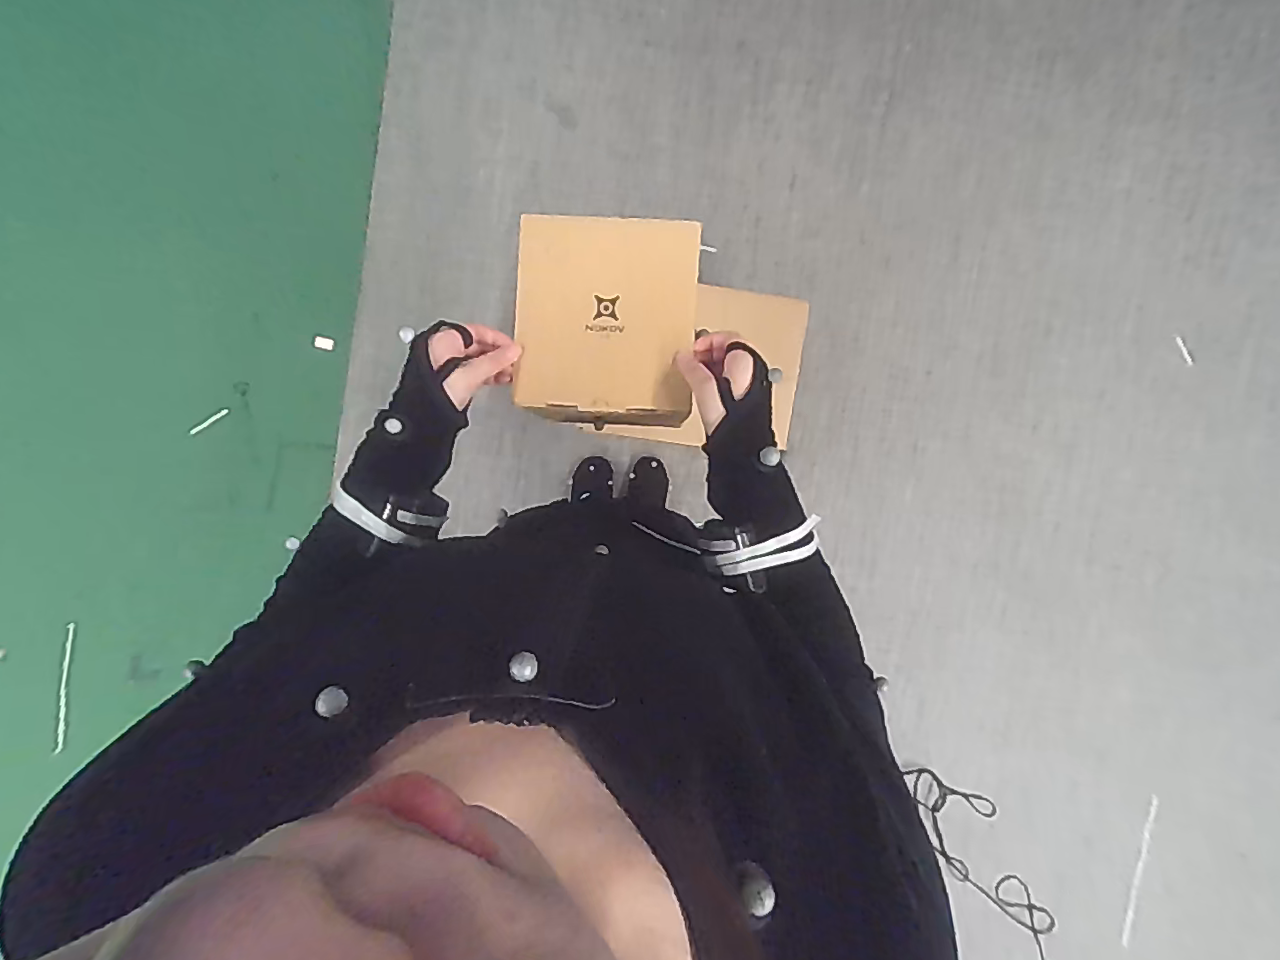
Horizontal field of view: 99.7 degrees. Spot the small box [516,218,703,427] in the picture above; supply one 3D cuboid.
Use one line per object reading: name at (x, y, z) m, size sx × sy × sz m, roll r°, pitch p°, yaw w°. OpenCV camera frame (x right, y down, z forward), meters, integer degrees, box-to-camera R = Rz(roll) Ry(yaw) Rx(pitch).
small box at (-0.027, -0.151, 0.572) m, size 0.168 × 0.176 × 0.179 m, roll 3°, pitch 94°, yaw 2°
